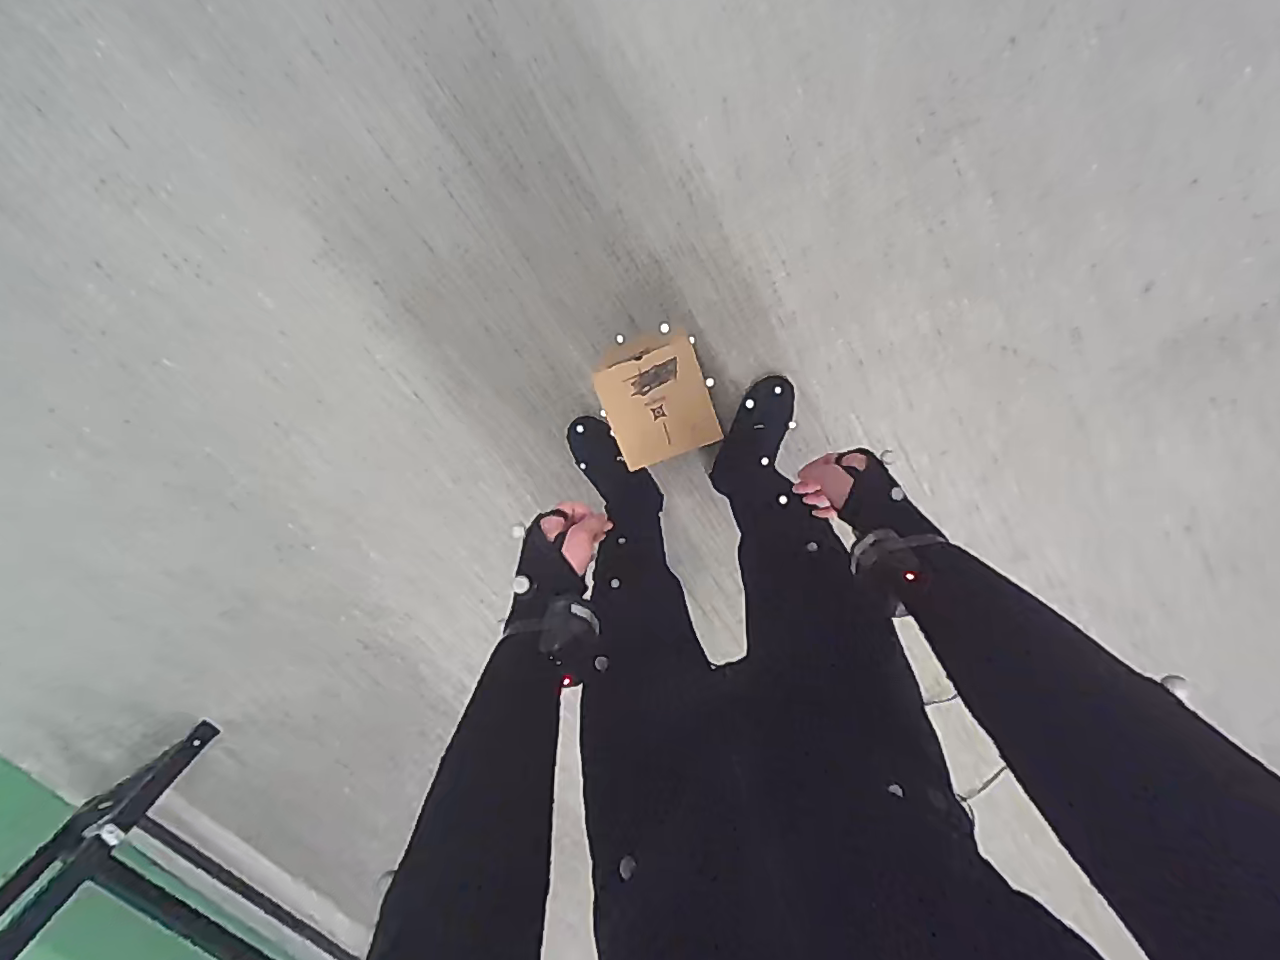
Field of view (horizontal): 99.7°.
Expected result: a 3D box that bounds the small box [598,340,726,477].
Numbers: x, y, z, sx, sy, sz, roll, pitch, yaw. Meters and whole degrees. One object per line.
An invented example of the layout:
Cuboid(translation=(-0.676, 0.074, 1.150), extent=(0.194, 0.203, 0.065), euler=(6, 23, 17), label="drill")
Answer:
Cuboid(translation=(0.037, -0.133, 0.936), extent=(0.168, 0.176, 0.179), euler=(-18, 111, 9), label="small box")

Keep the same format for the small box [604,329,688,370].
Cuboid(translation=(0.038, -0.193, 1.089), extent=(0.168, 0.176, 0.179), euler=(-20, 111, 9), label="small box")
